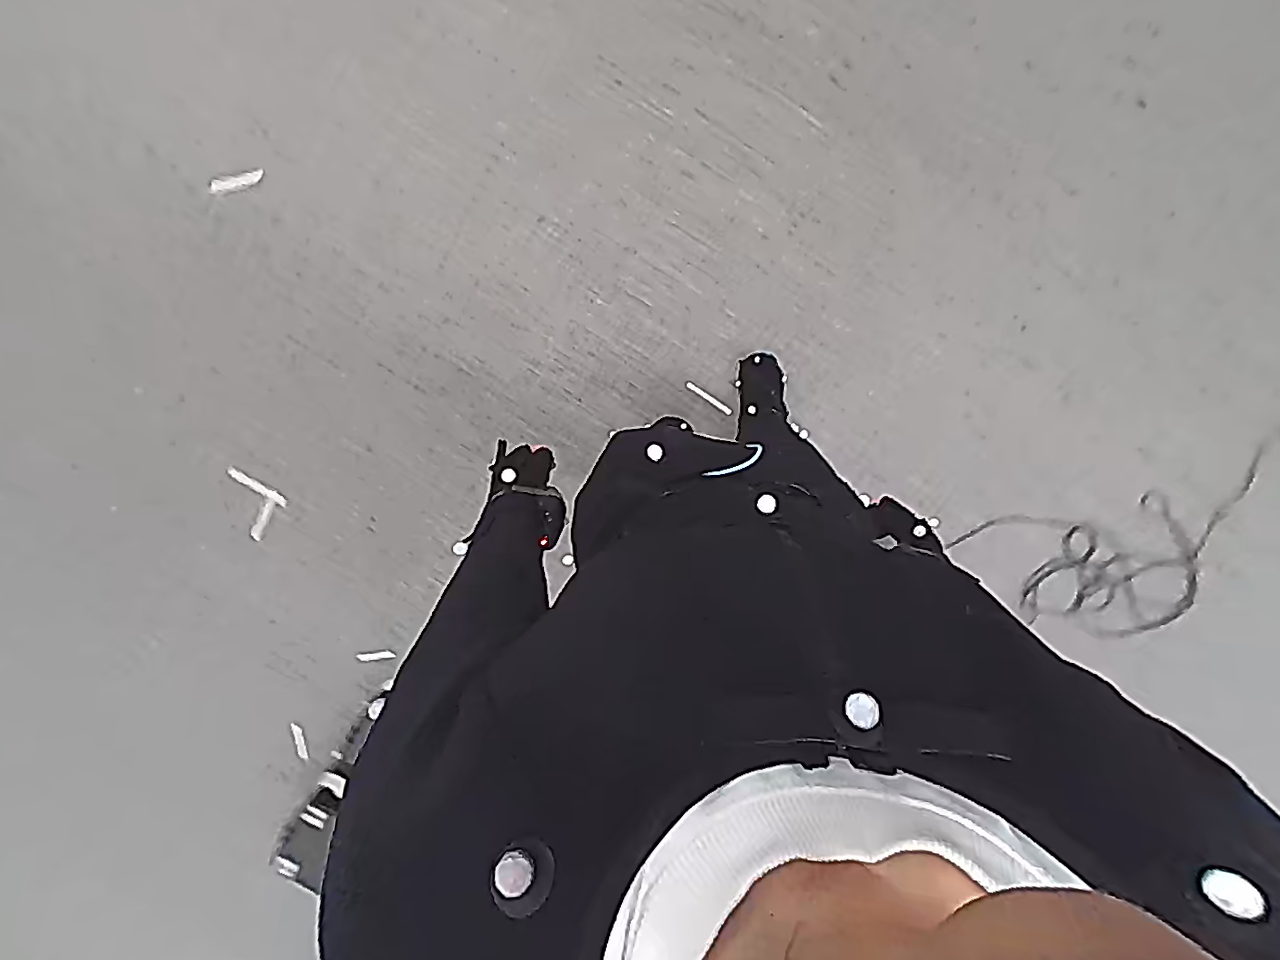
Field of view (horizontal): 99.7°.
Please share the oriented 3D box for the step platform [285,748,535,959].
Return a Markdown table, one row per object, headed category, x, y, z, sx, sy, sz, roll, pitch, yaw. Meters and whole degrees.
| category | x | y | z | sx | sy | sz | roll | pitch | yaw |
| --- | --- | --- | --- | --- | --- | --- | --- | --- | --- |
| step platform | -0.666 | 1.109 | 1.596 | 0.684 | 0.204 | 0.286 | 32 | 100 | -2 |
